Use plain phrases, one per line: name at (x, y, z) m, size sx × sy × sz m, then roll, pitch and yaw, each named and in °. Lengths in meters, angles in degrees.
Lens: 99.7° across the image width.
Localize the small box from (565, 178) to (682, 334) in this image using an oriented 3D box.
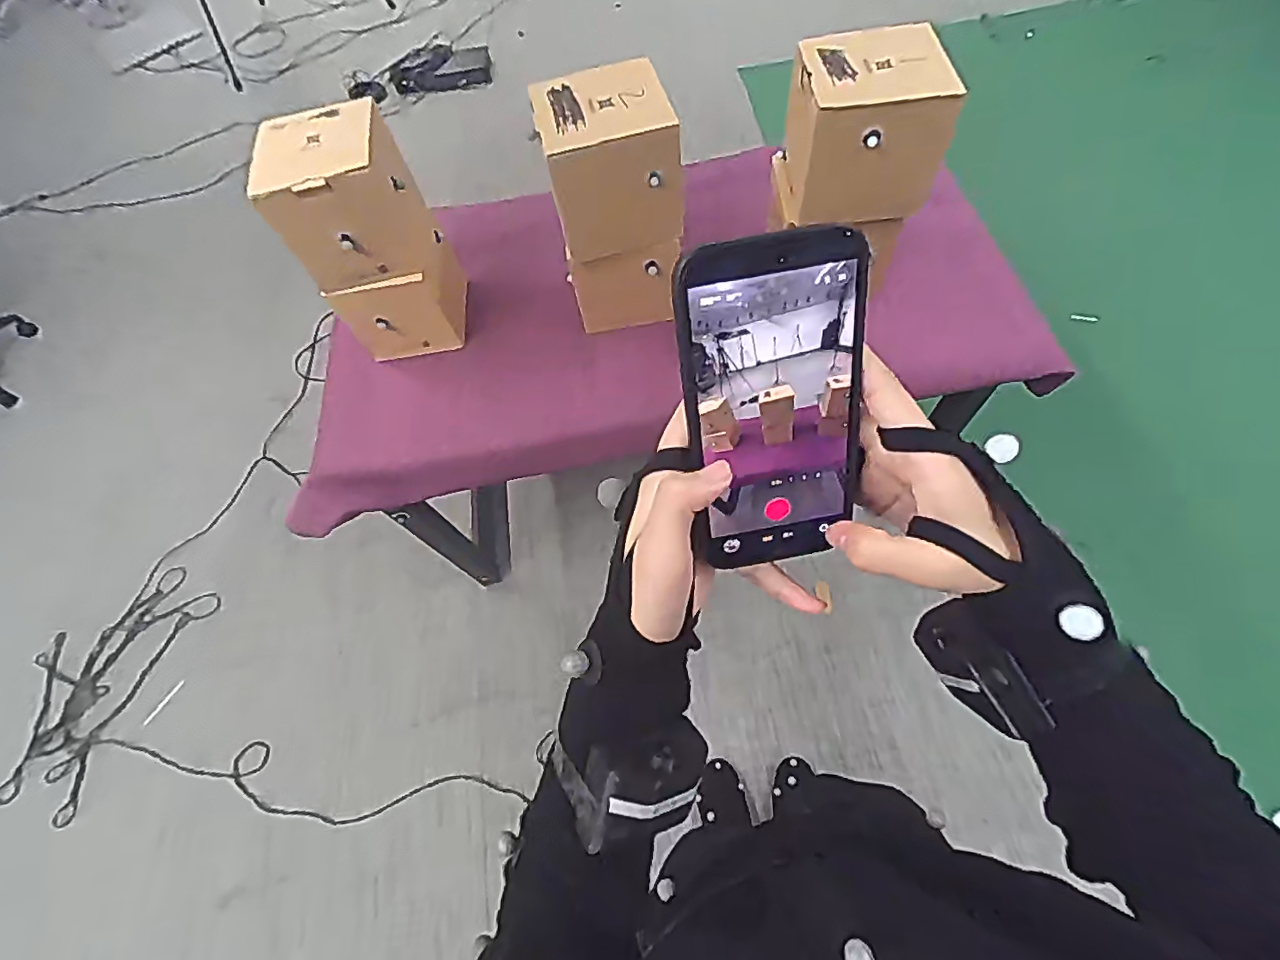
small box at (-0.023, -0.376, 0.927) m, size 0.179 × 0.176 × 0.168 m, roll -9°, pitch 63°, yaw 2°

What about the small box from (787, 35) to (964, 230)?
small box at (0.308, -0.475, 0.755) m, size 0.179 × 0.176 × 0.168 m, roll -3°, pitch 63°, yaw 4°

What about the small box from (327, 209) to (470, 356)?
small box at (-0.412, -0.337, 0.953) m, size 0.168 × 0.176 × 0.179 m, roll -8°, pitch 63°, yaw 3°

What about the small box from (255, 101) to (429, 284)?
small box at (-0.430, -0.418, 0.811) m, size 0.168 × 0.176 × 0.179 m, roll -12°, pitch 63°, yaw 0°

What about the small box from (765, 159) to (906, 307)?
small box at (0.314, -0.413, 0.908) m, size 0.179 × 0.176 × 0.168 m, roll -3°, pitch 63°, yaw 6°
